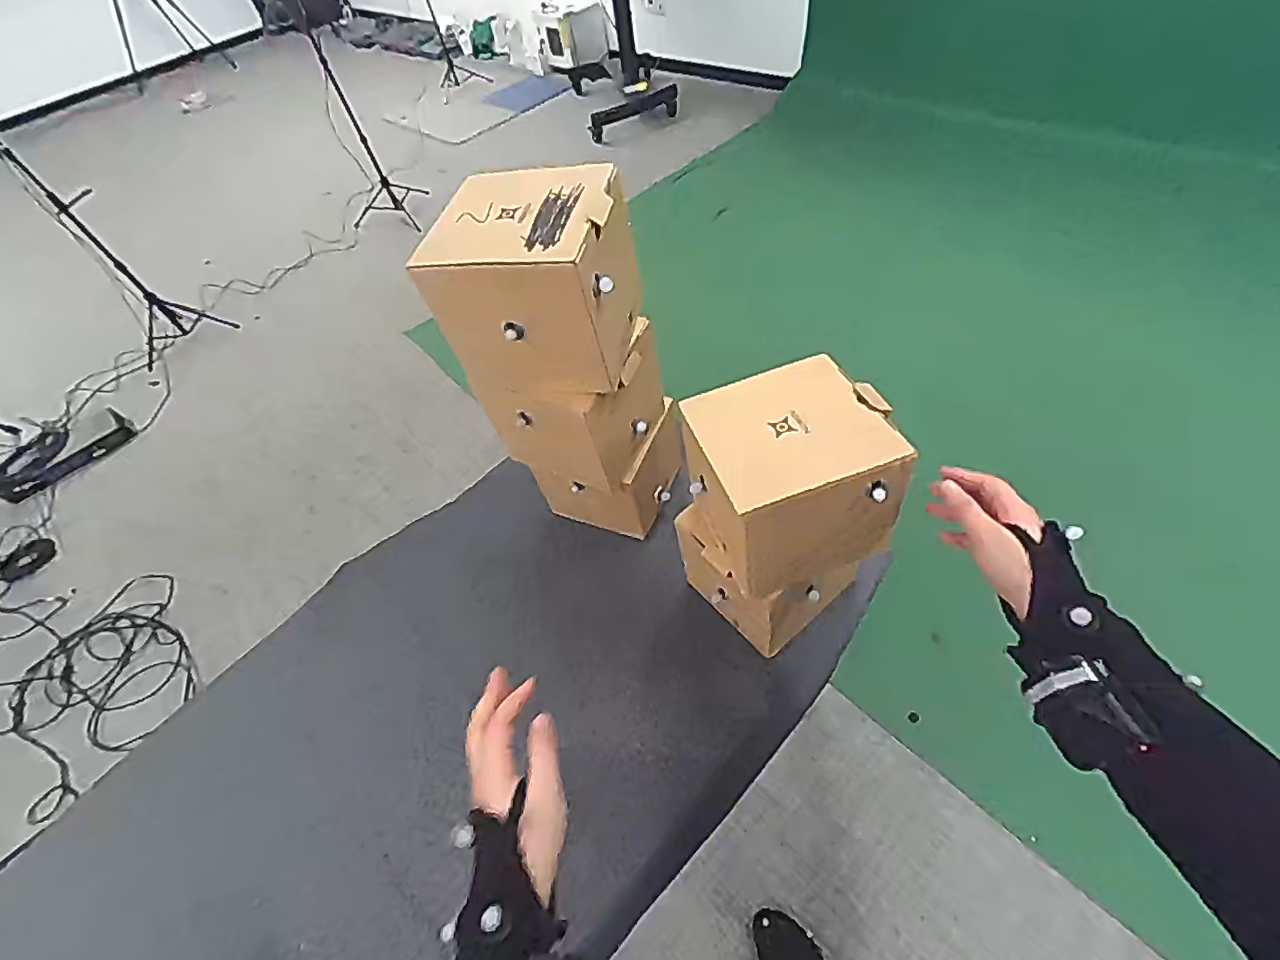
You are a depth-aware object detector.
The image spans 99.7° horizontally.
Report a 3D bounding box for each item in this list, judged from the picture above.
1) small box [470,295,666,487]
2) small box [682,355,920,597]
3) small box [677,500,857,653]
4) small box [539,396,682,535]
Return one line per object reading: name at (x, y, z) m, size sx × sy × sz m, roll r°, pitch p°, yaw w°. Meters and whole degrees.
small box at (-0.082, -0.114, 0.717) m, size 0.179 × 0.176 × 0.168 m, roll 19°, pitch 63°, yaw 22°
small box at (0.161, 0.001, 0.584) m, size 0.179 × 0.176 × 0.168 m, roll -19°, pitch 50°, yaw -4°
small box at (0.176, 0.096, 0.718) m, size 0.179 × 0.176 × 0.168 m, roll -37°, pitch 53°, yaw -16°
small box at (-0.044, -0.034, 0.857) m, size 0.179 × 0.176 × 0.168 m, roll 16°, pitch 61°, yaw 18°
